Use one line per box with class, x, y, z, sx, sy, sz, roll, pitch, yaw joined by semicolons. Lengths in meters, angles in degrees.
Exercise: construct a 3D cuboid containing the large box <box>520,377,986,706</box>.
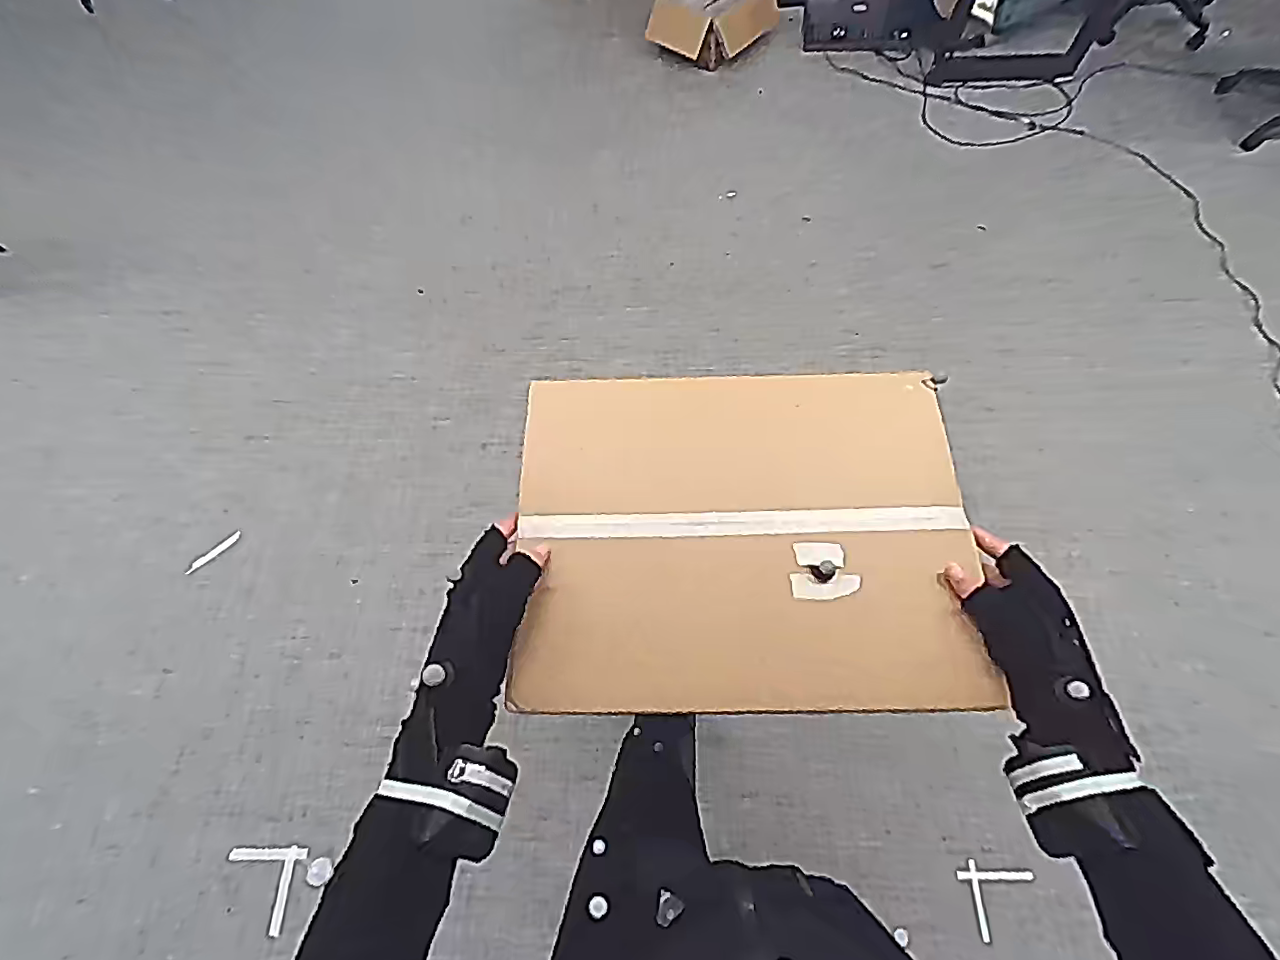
large box;0.092;0.096;0.647;0.408;0.320;0.320;-1;69;1
